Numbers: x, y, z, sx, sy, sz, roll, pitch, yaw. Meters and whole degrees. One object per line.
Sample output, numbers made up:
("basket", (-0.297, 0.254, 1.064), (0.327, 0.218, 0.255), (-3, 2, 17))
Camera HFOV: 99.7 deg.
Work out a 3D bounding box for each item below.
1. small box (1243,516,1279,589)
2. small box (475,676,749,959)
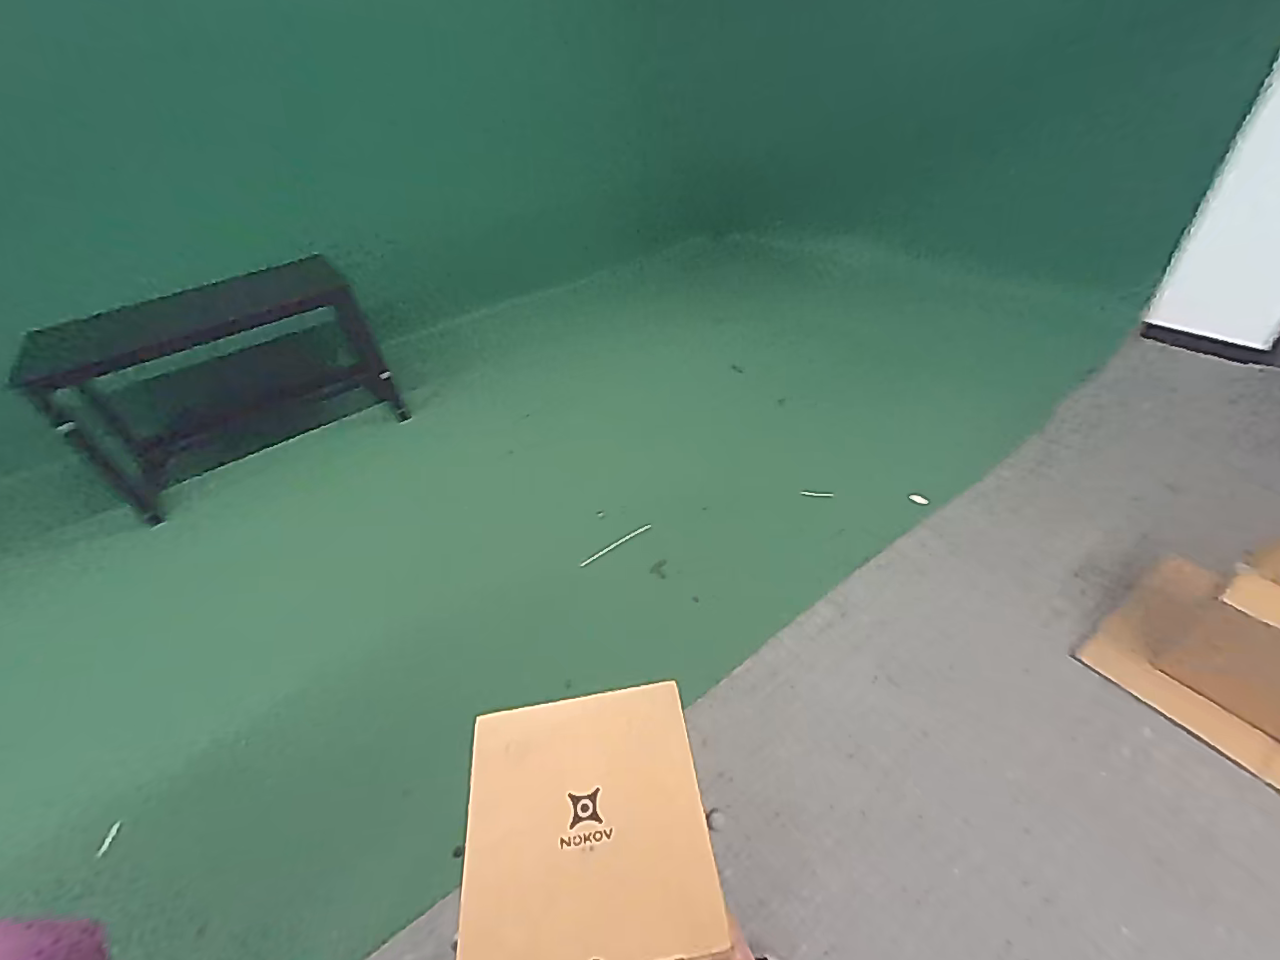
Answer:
("small box", (1.596, 0.165, 1.275), (0.179, 0.176, 0.168), (-31, 46, -26))
("small box", (-0.023, 0.287, 0.430), (0.168, 0.176, 0.179), (-8, 42, -4))
